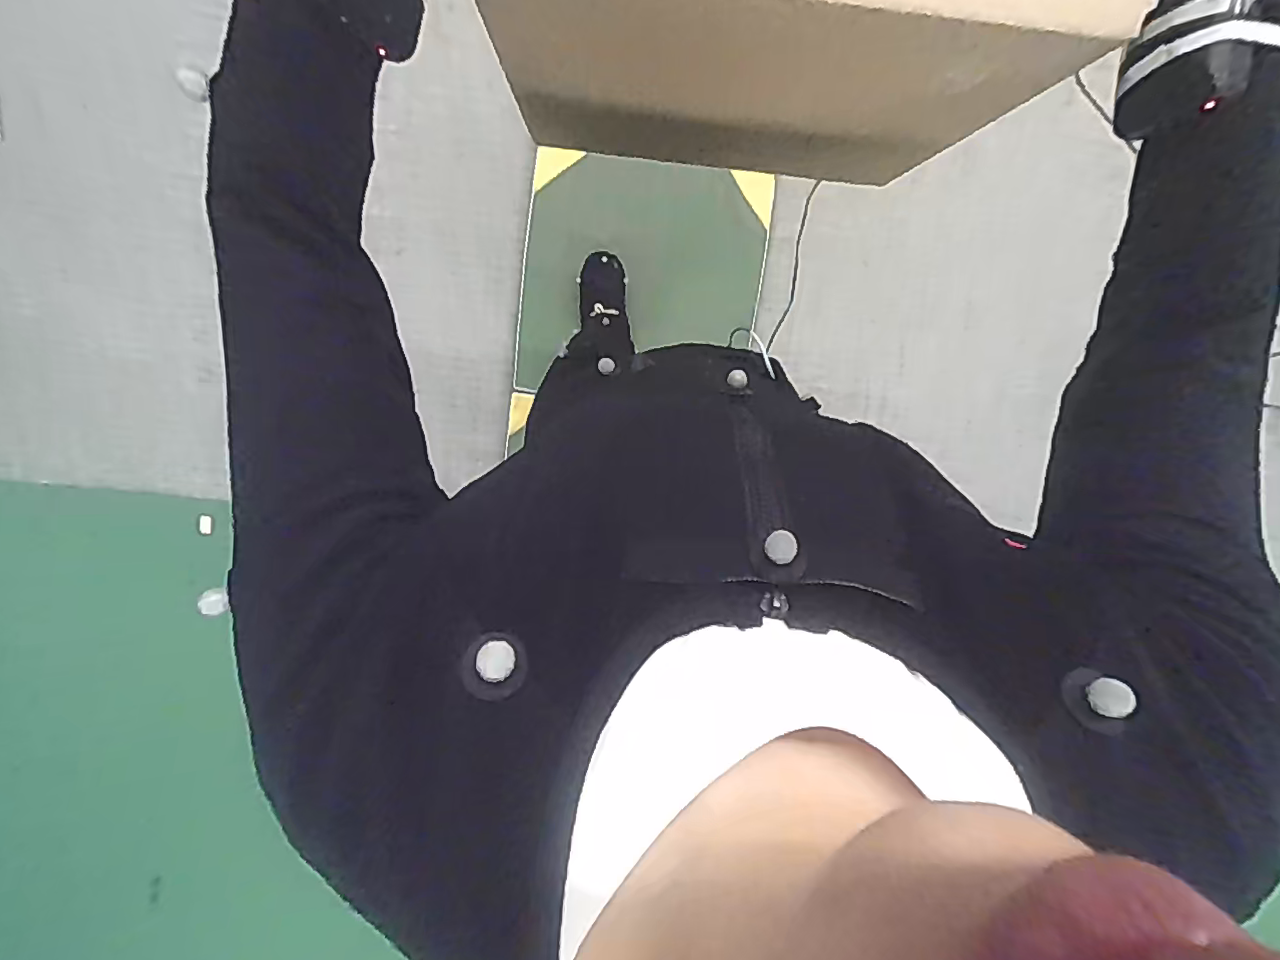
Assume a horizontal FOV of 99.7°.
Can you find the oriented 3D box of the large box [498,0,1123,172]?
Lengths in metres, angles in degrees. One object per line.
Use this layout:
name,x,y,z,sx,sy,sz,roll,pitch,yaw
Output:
large box,0.103,-0.475,0.434,0.408,0.320,0.320,3,105,-5
